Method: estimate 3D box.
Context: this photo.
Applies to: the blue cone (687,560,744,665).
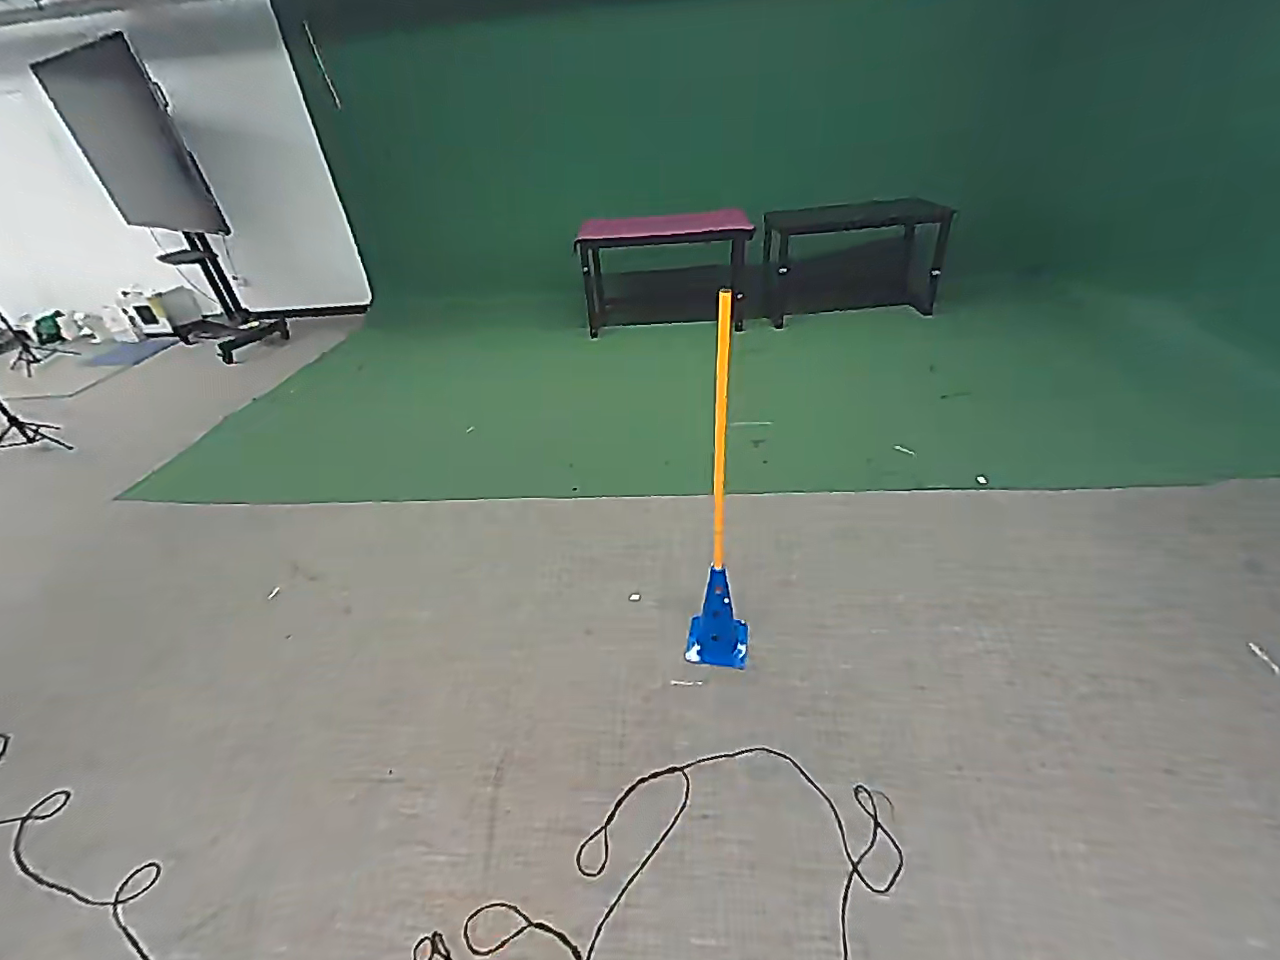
[{"bbox_3d":[0.250,0.418,1.775,0.193,0.380,0.192,5,35,13],"label":"blue cone"}]
